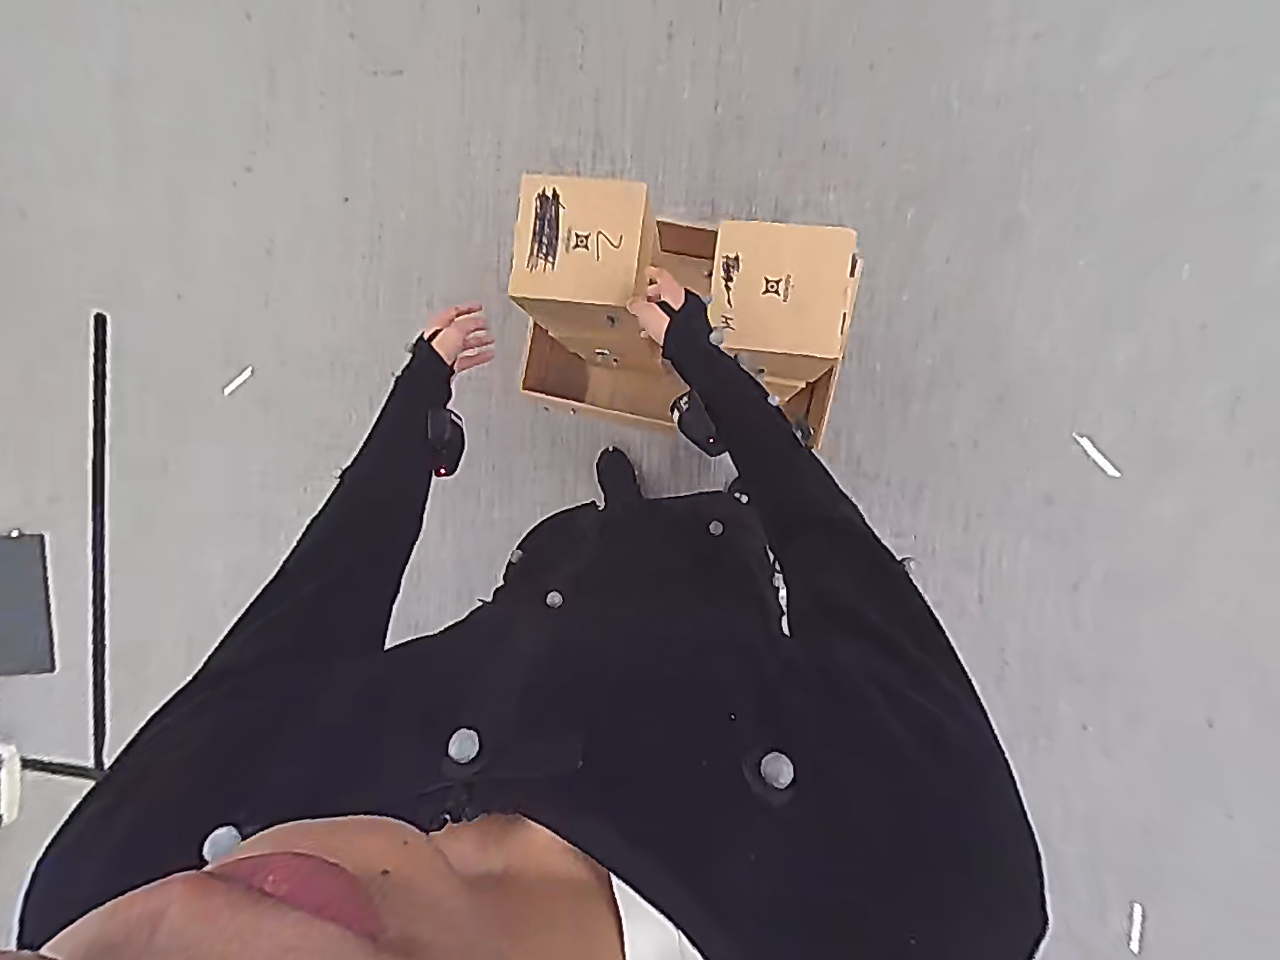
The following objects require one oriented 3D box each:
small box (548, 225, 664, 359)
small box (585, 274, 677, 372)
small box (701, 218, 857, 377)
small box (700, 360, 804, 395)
[{"bbox_3d":[-0.052,-0.324,0.959,0.168,0.176,0.179,7,93,8],"label":"small box"},{"bbox_3d":[-0.024,-0.327,1.121,0.179,0.176,0.168,9,93,6],"label":"small box"},{"bbox_3d":[0.186,-0.248,0.771,0.179,0.176,0.168,8,92,6],"label":"small box"},{"bbox_3d":[0.202,-0.250,0.934,0.168,0.176,0.179,10,92,6],"label":"small box"}]
